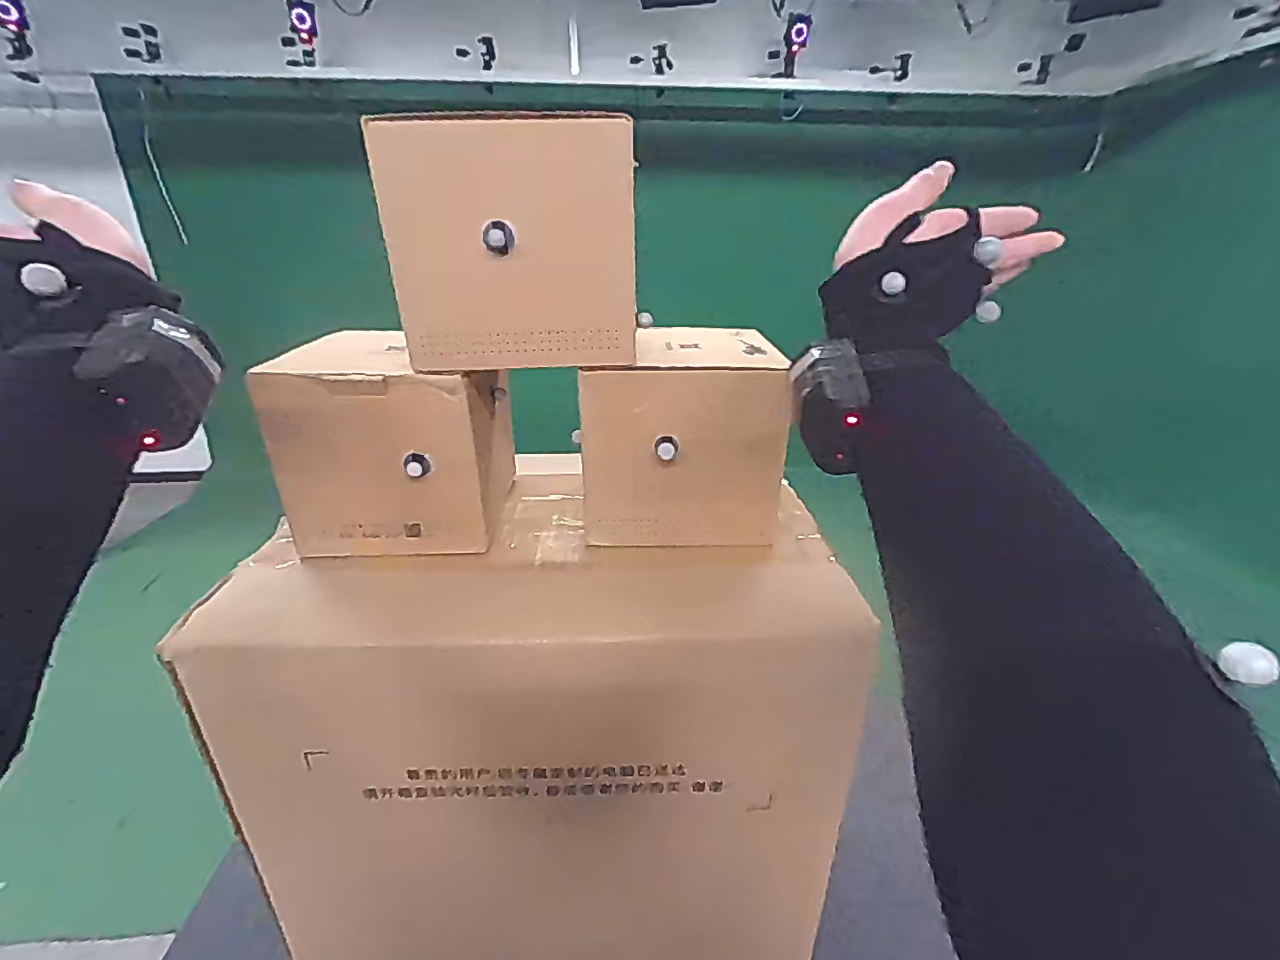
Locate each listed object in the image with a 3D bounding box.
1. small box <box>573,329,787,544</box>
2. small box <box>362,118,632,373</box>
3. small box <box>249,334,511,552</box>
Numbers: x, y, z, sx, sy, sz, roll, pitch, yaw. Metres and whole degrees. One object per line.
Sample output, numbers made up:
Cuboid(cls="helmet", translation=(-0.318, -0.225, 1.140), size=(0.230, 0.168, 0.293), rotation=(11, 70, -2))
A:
Cuboid(cls="small box", translation=(0.034, -0.047, 0.534), size=(0.179, 0.176, 0.168), rotation=(-1, 27, -1))
Cuboid(cls="small box", translation=(-0.096, -0.193, 0.457), size=(0.179, 0.176, 0.168), rotation=(-3, 26, -2))
Cuboid(cls="small box", translation=(-0.223, -0.041, 0.524), size=(0.168, 0.176, 0.179), rotation=(0, 25, -4))
